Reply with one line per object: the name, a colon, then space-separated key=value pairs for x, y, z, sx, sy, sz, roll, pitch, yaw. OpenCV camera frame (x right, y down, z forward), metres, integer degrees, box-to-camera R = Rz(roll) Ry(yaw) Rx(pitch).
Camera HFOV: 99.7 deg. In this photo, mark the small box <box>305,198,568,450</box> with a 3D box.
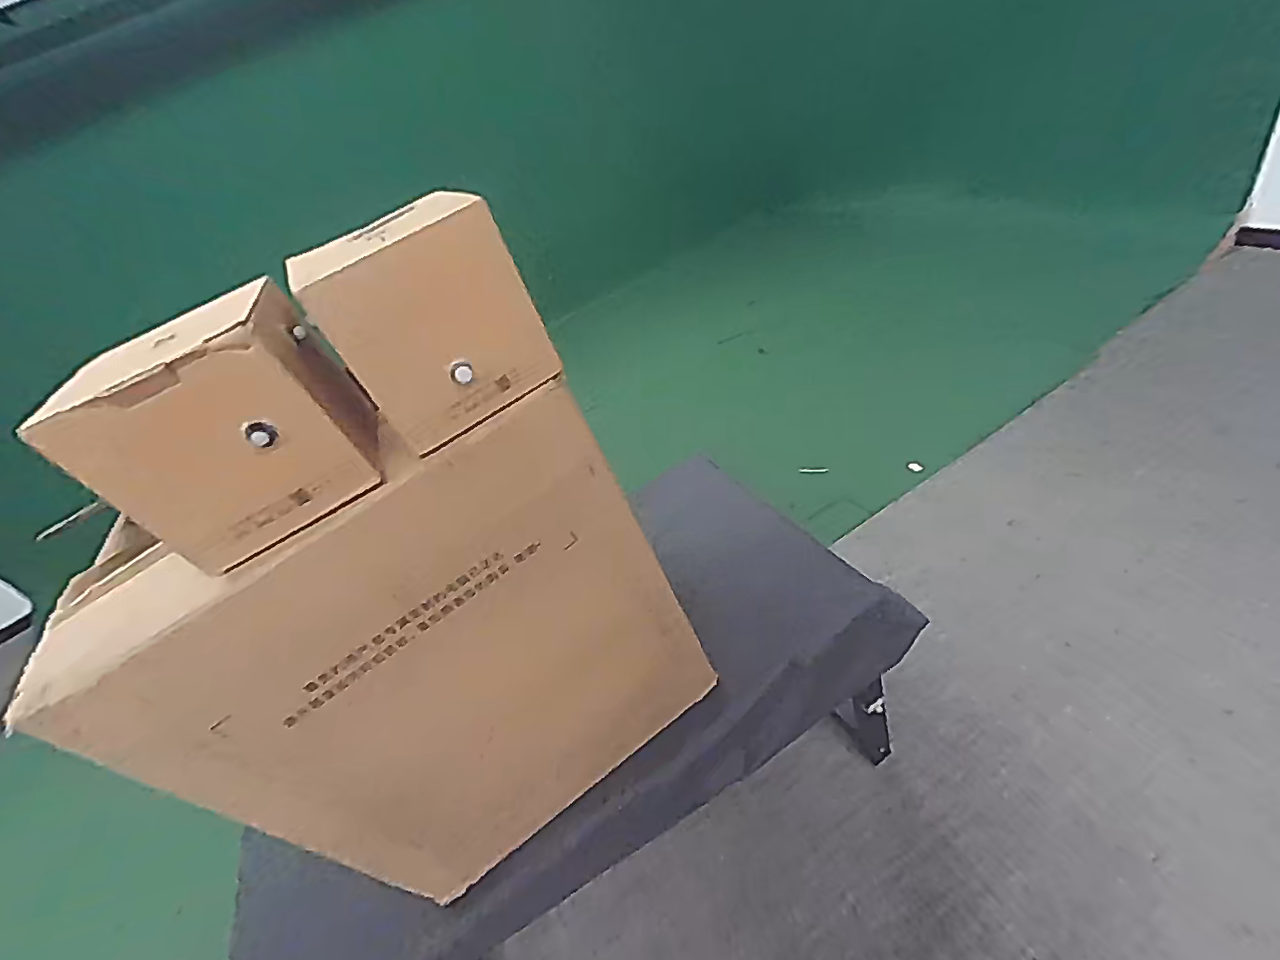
small box: x=-0.199 y=-0.157 z=0.538 sx=0.168 sy=0.176 sz=0.179 roll=-34 pitch=40 yaw=-12
